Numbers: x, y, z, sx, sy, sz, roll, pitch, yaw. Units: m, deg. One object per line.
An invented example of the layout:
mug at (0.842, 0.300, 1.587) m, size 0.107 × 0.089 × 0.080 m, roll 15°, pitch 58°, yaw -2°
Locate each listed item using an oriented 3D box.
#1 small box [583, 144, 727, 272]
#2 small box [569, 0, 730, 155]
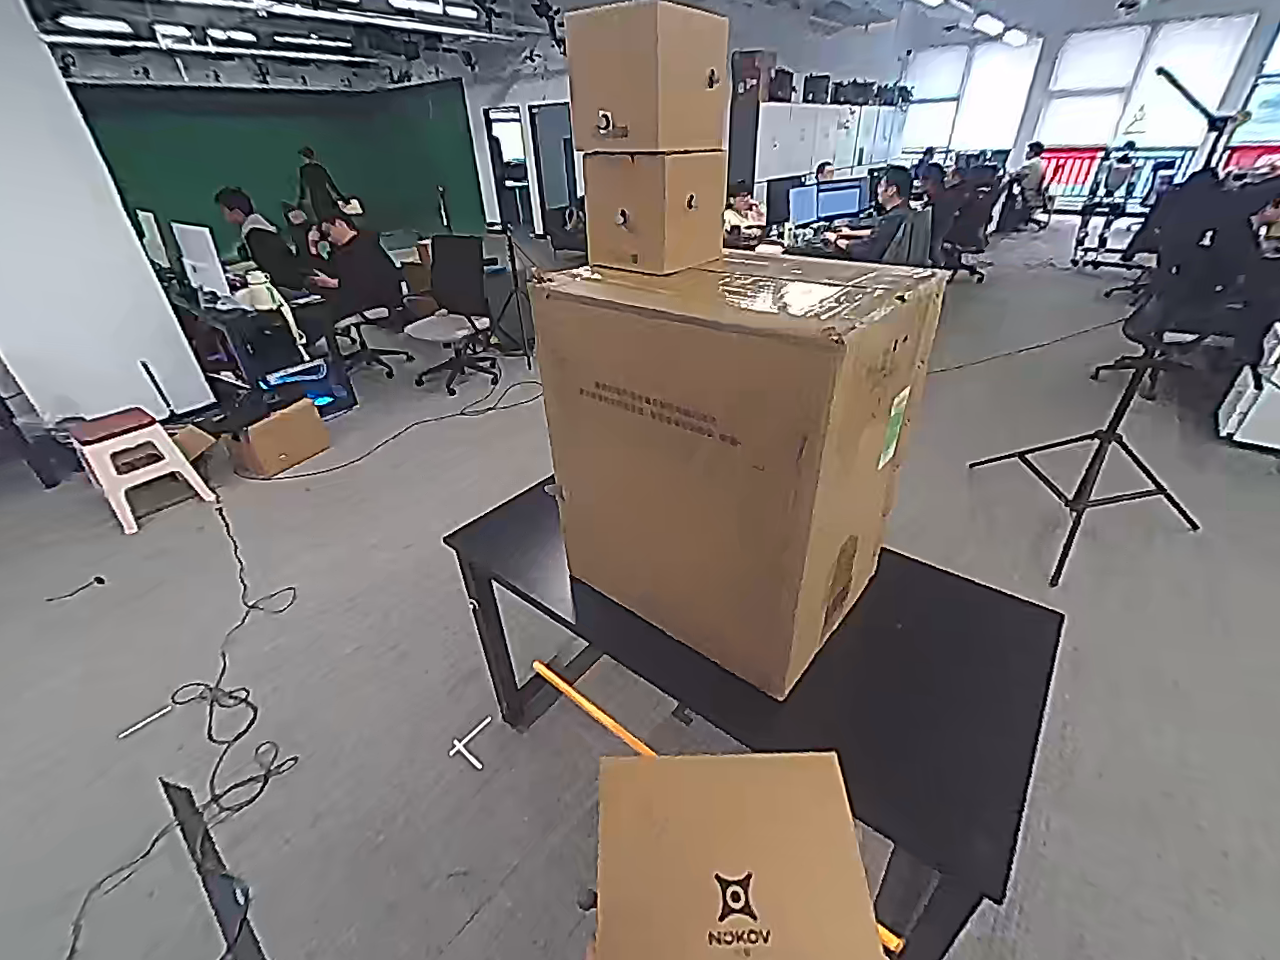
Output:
small box at (0.029, -0.452, 0.897) m, size 0.168 × 0.176 × 0.179 m, roll 22°, pitch 40°, yaw 32°
small box at (0.015, -0.585, 0.802) m, size 0.168 × 0.176 × 0.179 m, roll 21°, pitch 39°, yaw 32°
